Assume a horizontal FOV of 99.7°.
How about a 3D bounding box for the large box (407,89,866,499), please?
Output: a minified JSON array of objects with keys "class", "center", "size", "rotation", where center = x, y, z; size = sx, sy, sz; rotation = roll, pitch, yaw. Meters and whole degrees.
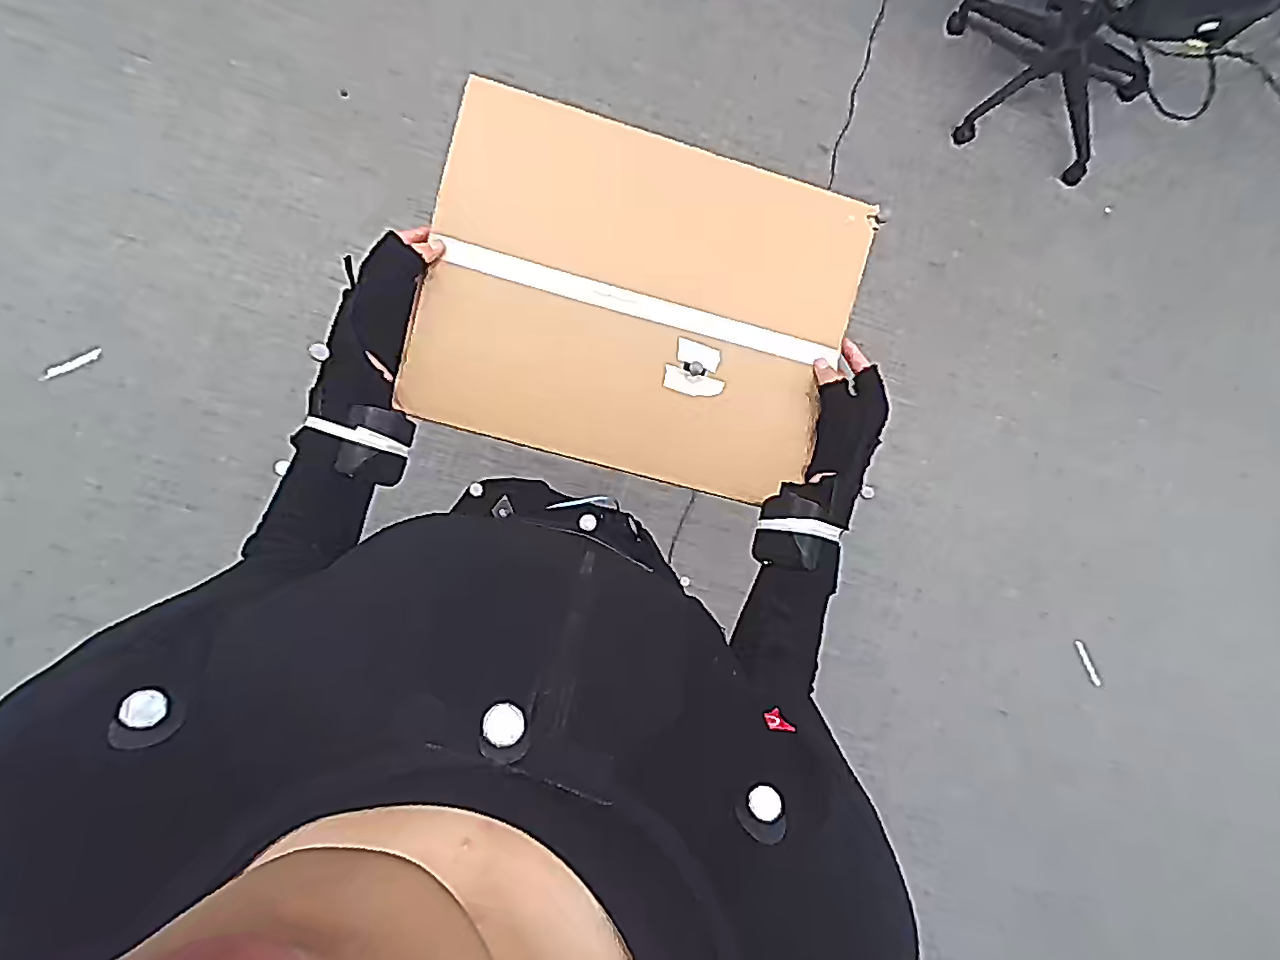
[{"class":"large box","center":[-0.014,-0.182,0.676],"size":[0.408,0.320,0.320],"rotation":[14,93,-7]}]
